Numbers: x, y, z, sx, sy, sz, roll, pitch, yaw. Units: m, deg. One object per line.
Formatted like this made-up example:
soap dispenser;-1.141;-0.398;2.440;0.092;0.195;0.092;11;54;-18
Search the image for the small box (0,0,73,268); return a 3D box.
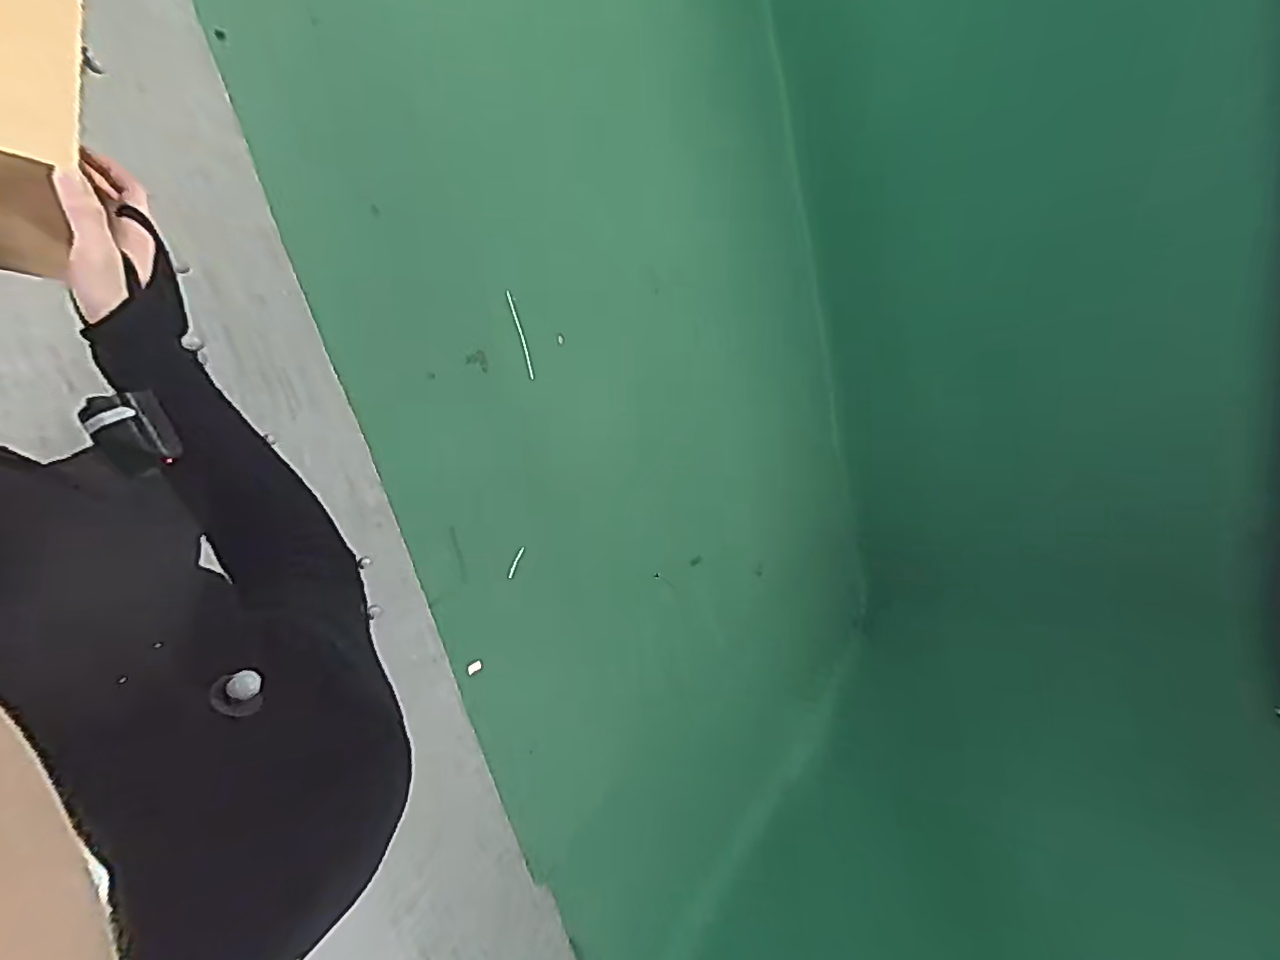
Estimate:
small box;-0.542;-0.291;0.400;0.168;0.176;0.179;1;74;-47
